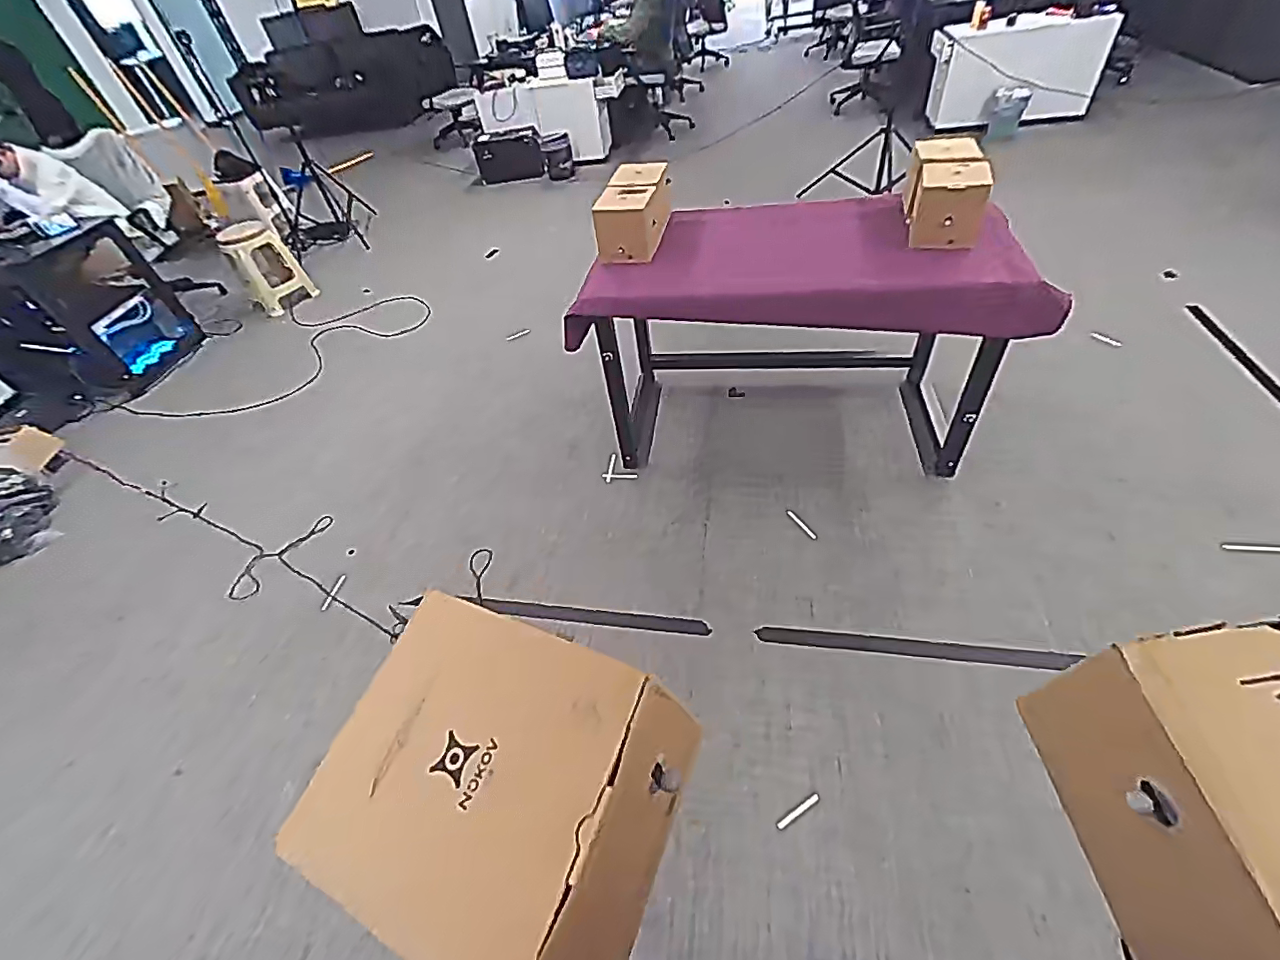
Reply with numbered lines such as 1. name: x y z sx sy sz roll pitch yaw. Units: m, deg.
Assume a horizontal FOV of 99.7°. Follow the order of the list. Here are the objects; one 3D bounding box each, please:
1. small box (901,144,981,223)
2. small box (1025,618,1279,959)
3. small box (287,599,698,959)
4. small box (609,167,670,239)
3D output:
1. small box: 0.904 -0.900 1.643 0.168 0.176 0.179 5 48 14
2. small box: 0.368 0.189 0.310 0.168 0.176 0.179 -13 56 8
3. small box: -0.074 0.207 0.369 0.179 0.176 0.168 11 60 26
4. small box: 0.005 -0.936 1.826 0.168 0.176 0.179 5 49 14
